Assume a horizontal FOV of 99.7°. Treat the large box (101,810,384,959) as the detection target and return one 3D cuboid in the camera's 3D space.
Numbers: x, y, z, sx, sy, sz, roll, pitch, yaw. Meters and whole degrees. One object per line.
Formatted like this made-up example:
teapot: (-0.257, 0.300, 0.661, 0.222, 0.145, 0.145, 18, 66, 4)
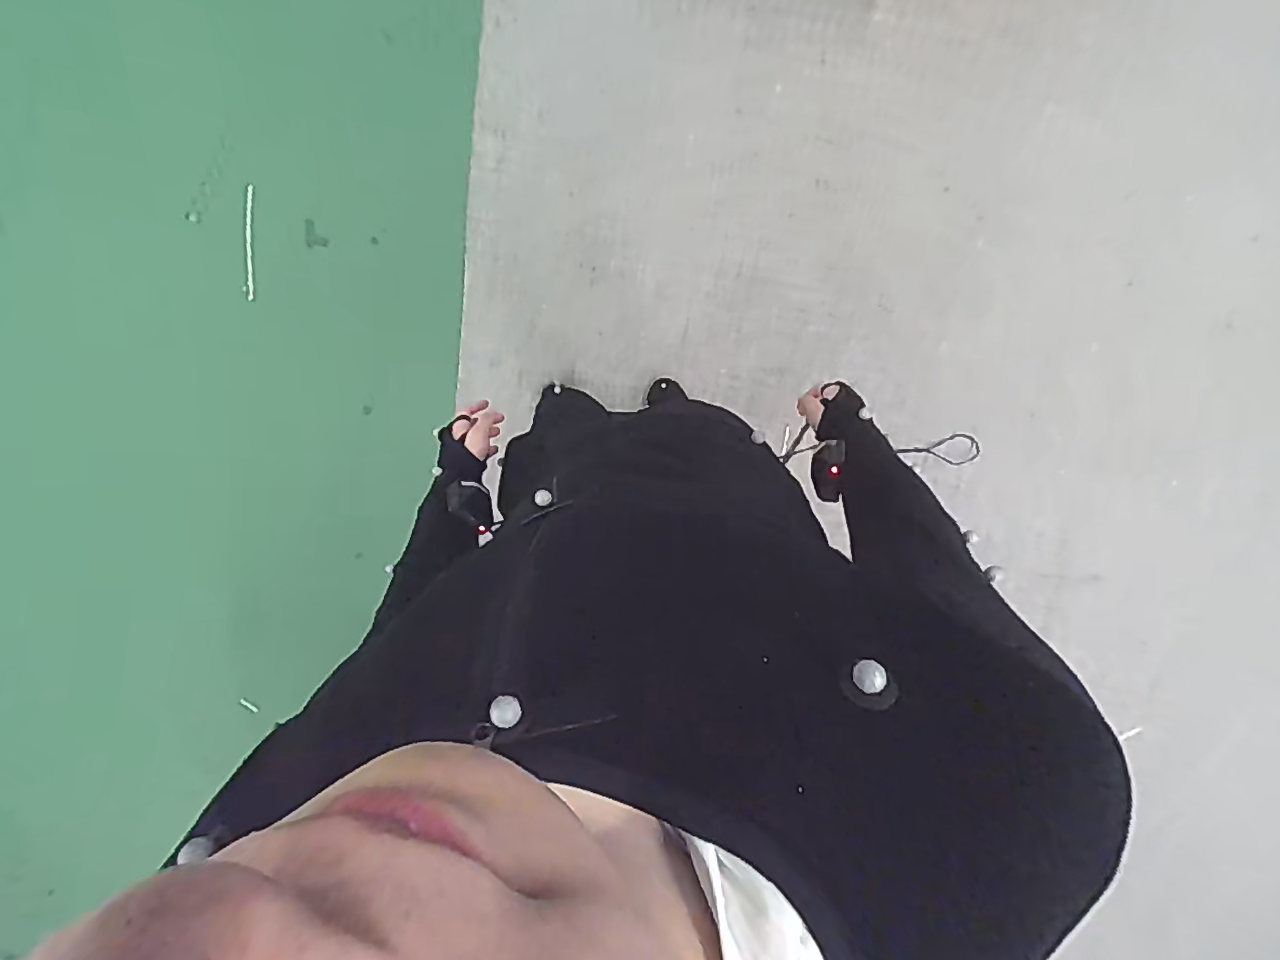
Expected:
large box: (-0.718, 0.936, 1.027, 0.320, 0.320, 0.408, 11, 104, 1)
